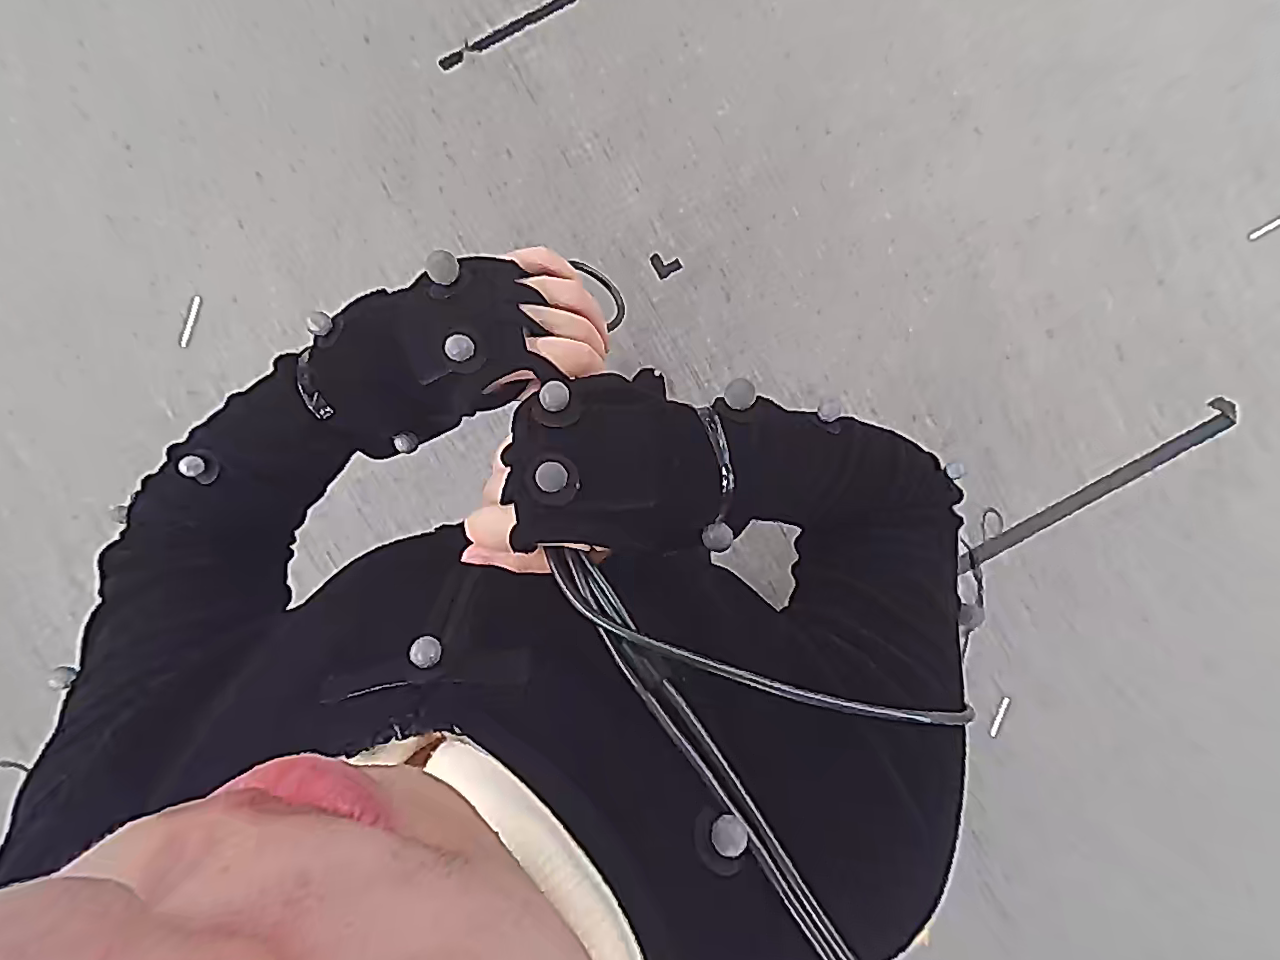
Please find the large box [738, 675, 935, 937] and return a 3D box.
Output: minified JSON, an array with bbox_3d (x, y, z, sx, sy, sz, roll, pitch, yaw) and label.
[{"bbox_3d":[0.409,0.690,1.204,0.320,0.320,0.408,3,94,-1],"label":"large box"}]
